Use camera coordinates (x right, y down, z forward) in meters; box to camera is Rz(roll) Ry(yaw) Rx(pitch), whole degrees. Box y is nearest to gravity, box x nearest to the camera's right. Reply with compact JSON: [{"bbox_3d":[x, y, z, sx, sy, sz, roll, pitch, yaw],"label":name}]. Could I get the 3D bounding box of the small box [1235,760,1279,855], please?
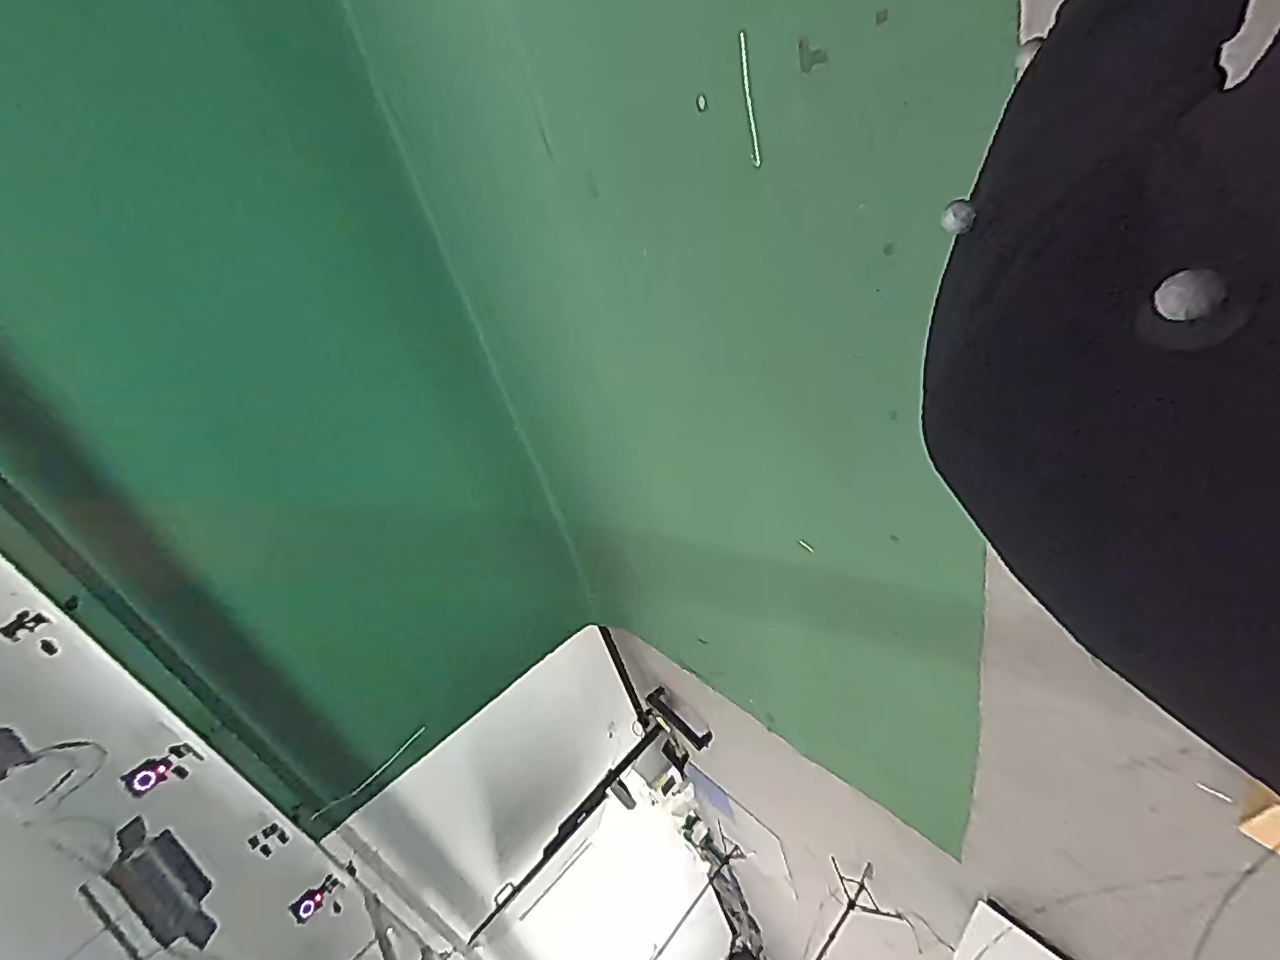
[{"bbox_3d":[1.632,0.825,1.316,0.179,0.176,0.168,33,143,37],"label":"small box"}]
